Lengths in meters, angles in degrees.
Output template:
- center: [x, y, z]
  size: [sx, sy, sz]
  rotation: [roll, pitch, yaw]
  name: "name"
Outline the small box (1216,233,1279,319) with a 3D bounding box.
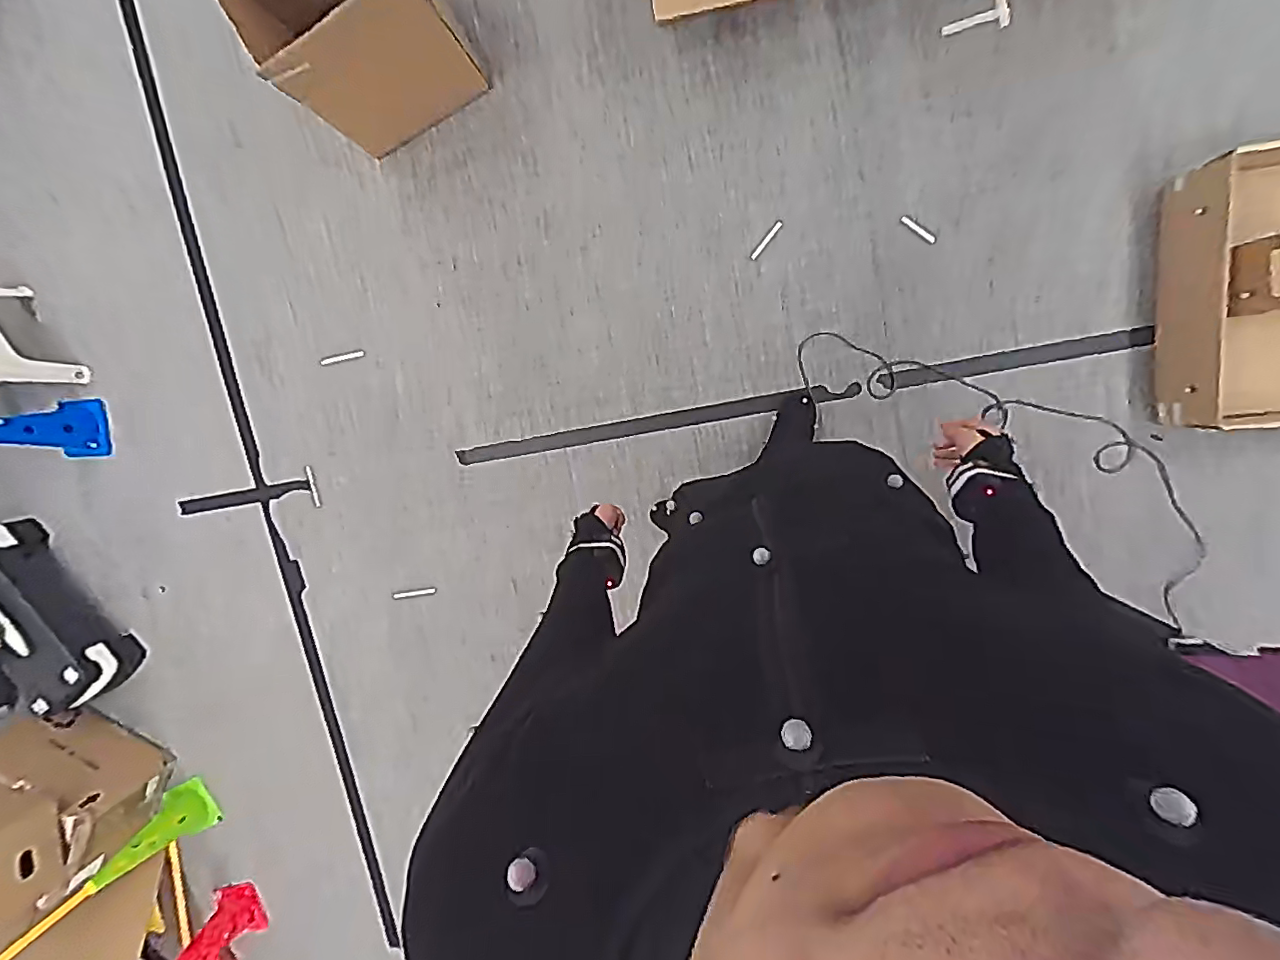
- center: [1.481, -0.475, 1.235]
  size: [0.179, 0.176, 0.168]
  rotation: [-10, 98, 9]
  name: "small box"
